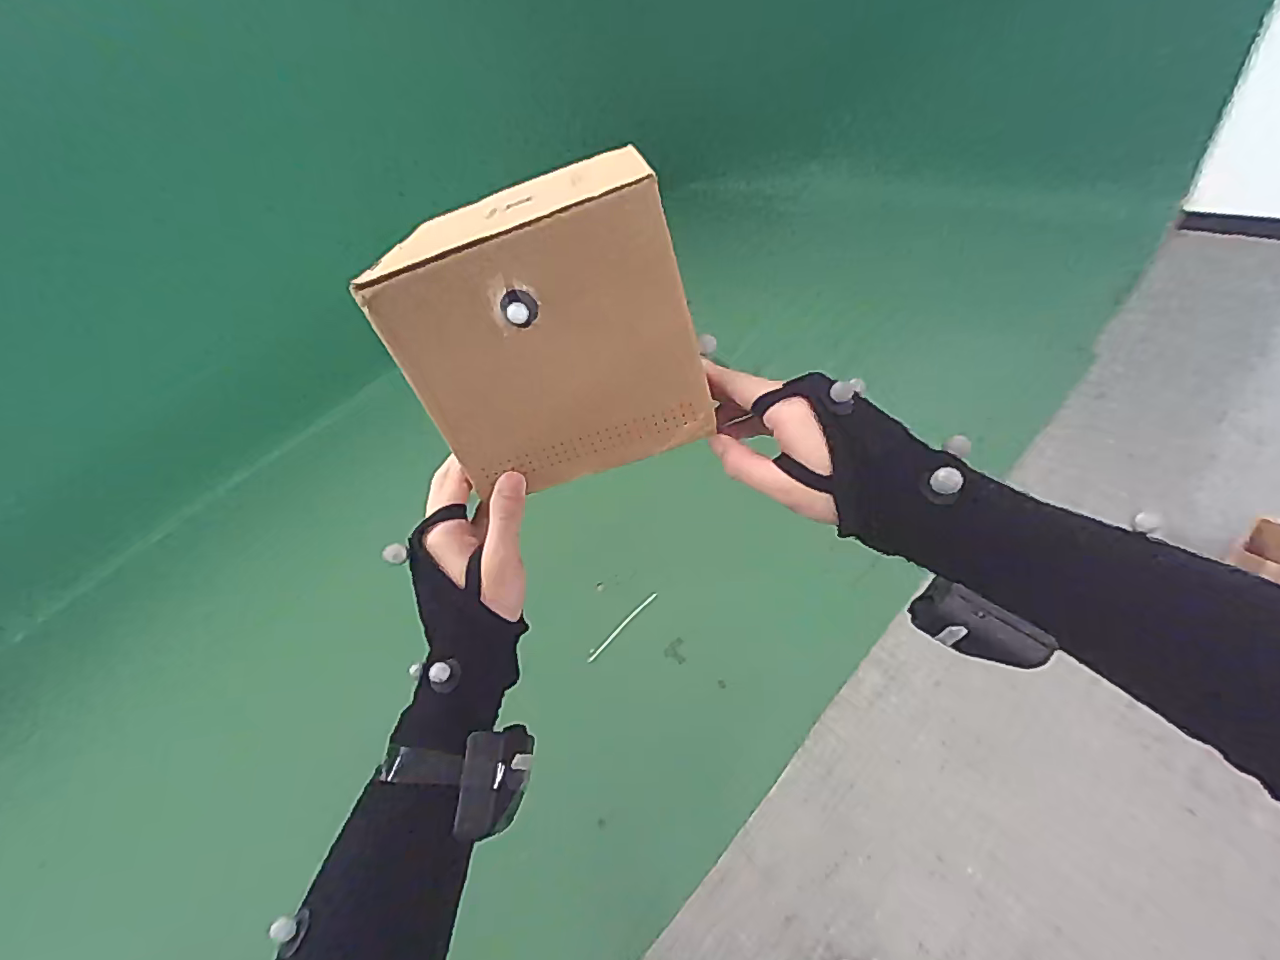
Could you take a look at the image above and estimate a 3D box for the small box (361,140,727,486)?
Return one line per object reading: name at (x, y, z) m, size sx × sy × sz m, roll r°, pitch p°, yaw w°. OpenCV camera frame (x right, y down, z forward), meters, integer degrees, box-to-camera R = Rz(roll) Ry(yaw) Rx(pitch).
small box at (-0.050, -0.118, 0.390) m, size 0.179 × 0.176 × 0.168 m, roll -16°, pitch 36°, yaw 7°
